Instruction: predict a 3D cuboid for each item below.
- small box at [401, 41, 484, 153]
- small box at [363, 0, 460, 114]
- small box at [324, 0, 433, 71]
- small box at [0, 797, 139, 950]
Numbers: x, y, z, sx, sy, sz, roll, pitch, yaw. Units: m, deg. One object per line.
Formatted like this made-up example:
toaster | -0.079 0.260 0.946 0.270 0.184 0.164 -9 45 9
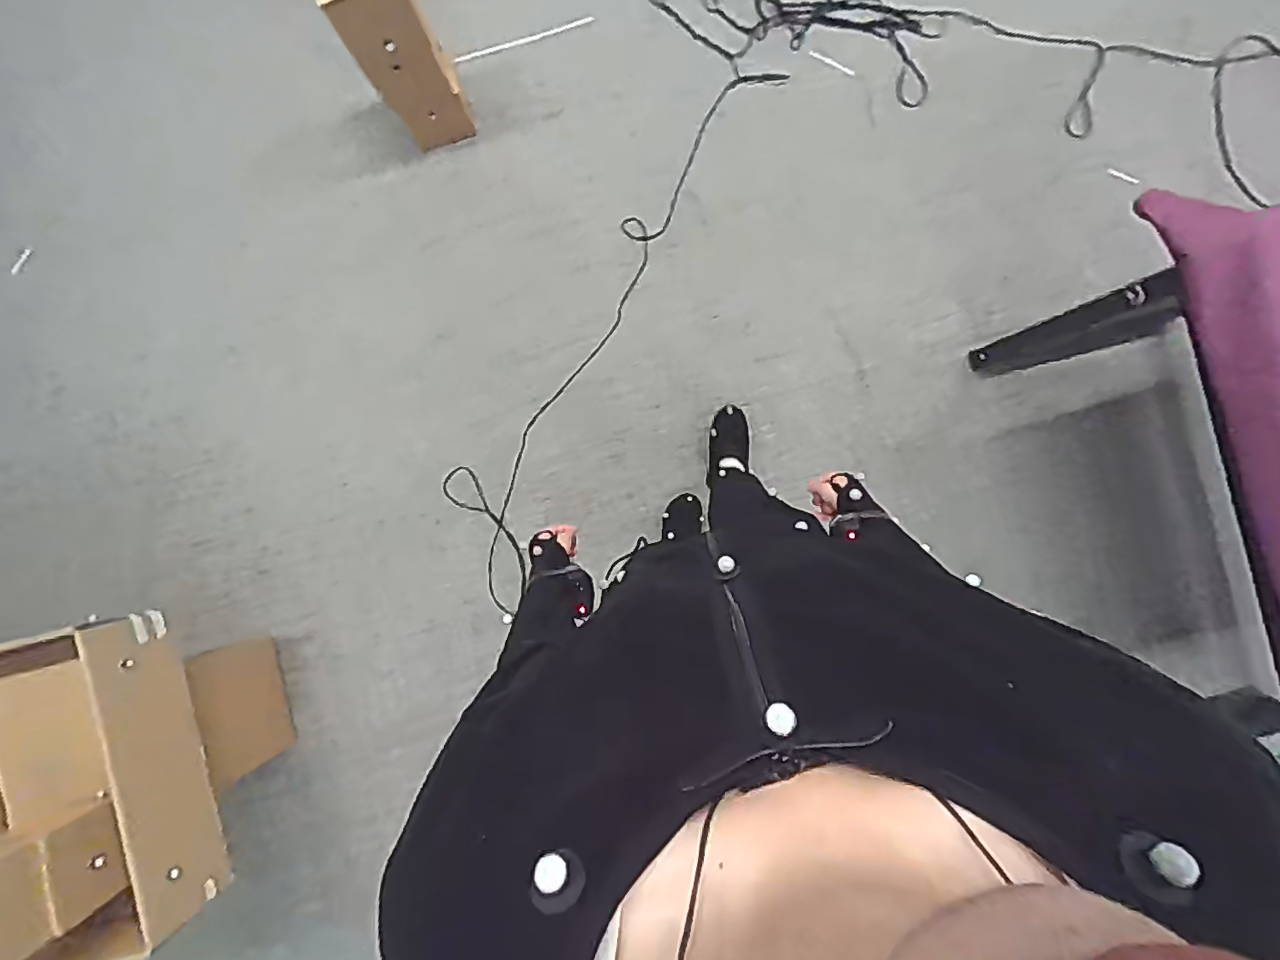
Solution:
small box | -0.553 -1.038 1.483 0.179 0.176 0.168 -16 88 1
small box | -0.568 -1.041 1.320 0.179 0.176 0.168 -16 89 1
small box | -0.564 -1.032 1.156 0.179 0.176 0.168 -18 88 0
small box | -1.104 0.726 1.014 0.168 0.176 0.179 -13 87 1
